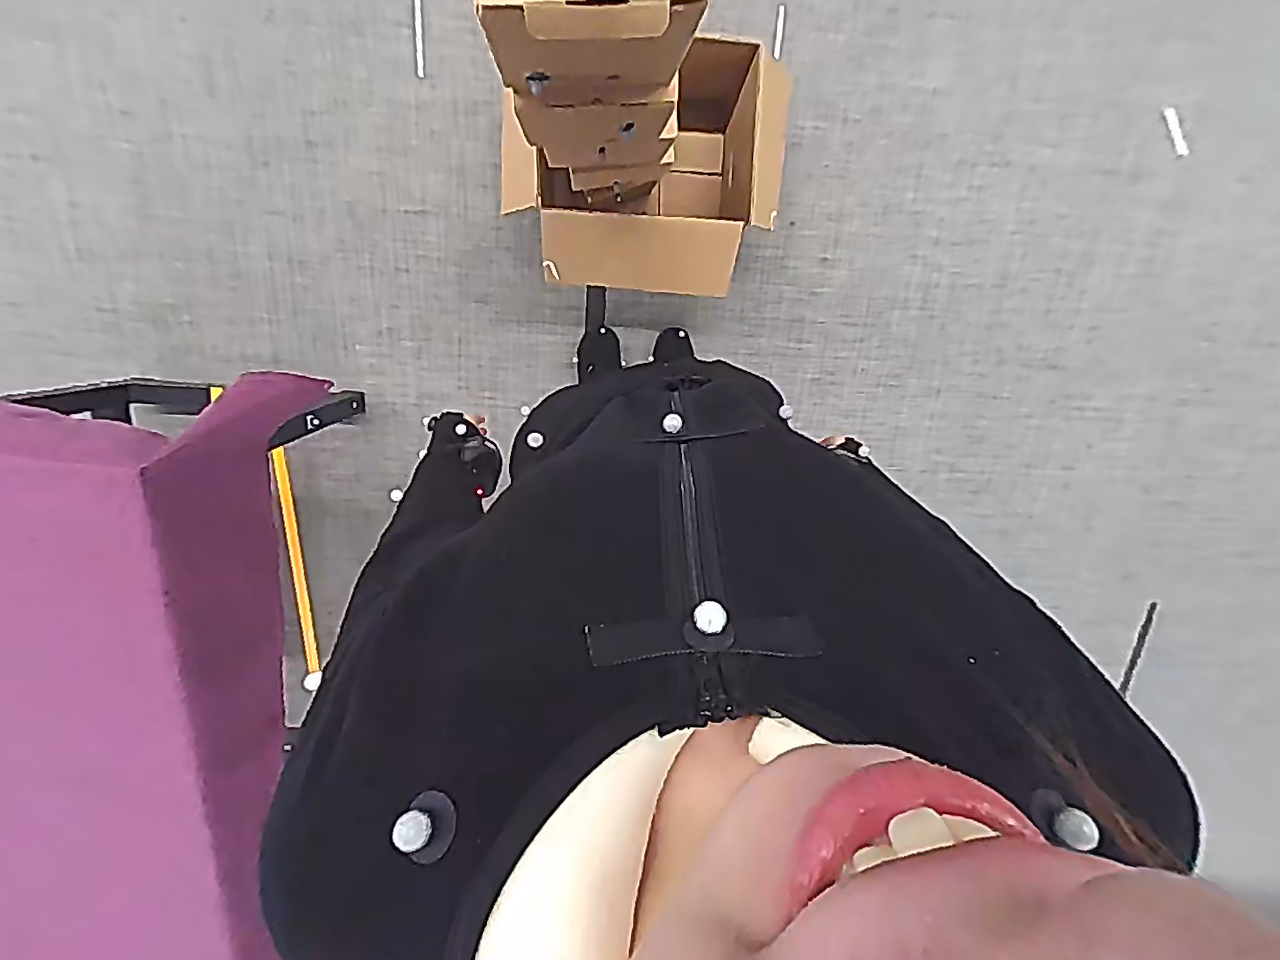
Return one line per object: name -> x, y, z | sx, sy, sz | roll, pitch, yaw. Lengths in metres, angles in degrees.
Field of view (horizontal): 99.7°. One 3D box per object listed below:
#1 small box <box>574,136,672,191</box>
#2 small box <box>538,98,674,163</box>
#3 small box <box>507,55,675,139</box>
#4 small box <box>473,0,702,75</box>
small box -> -0.053, -0.673, 1.032 | 0.179, 0.176, 0.168 | -18, 111, 0
small box -> -0.052, -0.538, 0.730 | 0.179, 0.176, 0.168 | -5, 112, -4
small box -> -0.055, -0.480, 0.577 | 0.168, 0.176, 0.179 | -4, 111, -5
small box -> -0.046, -0.438, 0.418 | 0.168, 0.176, 0.179 | -6, 111, -5
